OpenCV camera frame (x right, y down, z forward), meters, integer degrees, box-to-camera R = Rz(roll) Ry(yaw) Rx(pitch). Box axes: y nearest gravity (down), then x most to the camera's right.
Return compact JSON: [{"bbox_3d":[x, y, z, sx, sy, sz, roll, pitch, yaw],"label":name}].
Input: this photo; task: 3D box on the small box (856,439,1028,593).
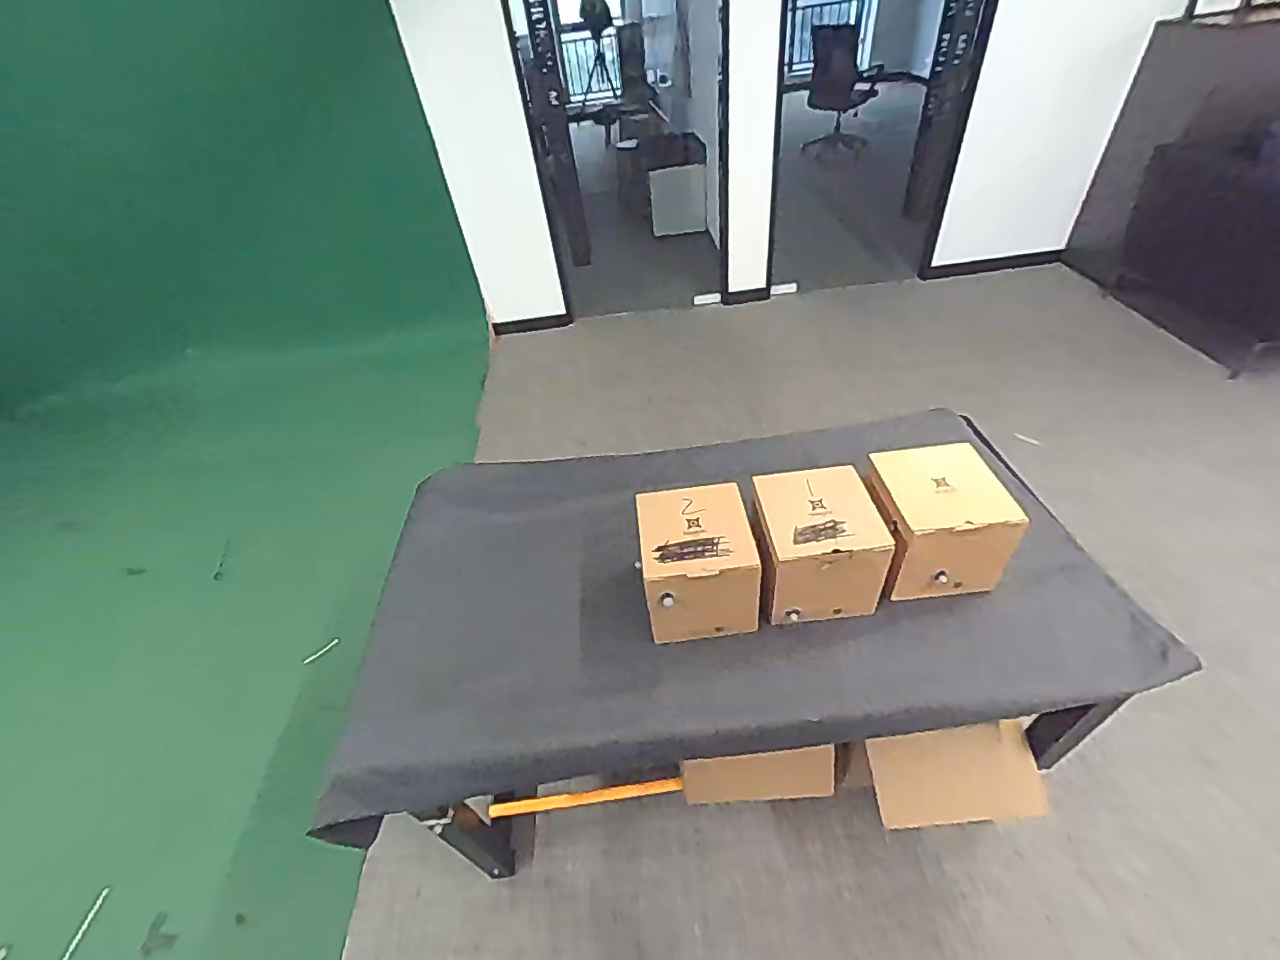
[{"bbox_3d":[0.467,0.059,0.874,0.168,0.176,0.179,-7,44,2],"label":"small box"}]
